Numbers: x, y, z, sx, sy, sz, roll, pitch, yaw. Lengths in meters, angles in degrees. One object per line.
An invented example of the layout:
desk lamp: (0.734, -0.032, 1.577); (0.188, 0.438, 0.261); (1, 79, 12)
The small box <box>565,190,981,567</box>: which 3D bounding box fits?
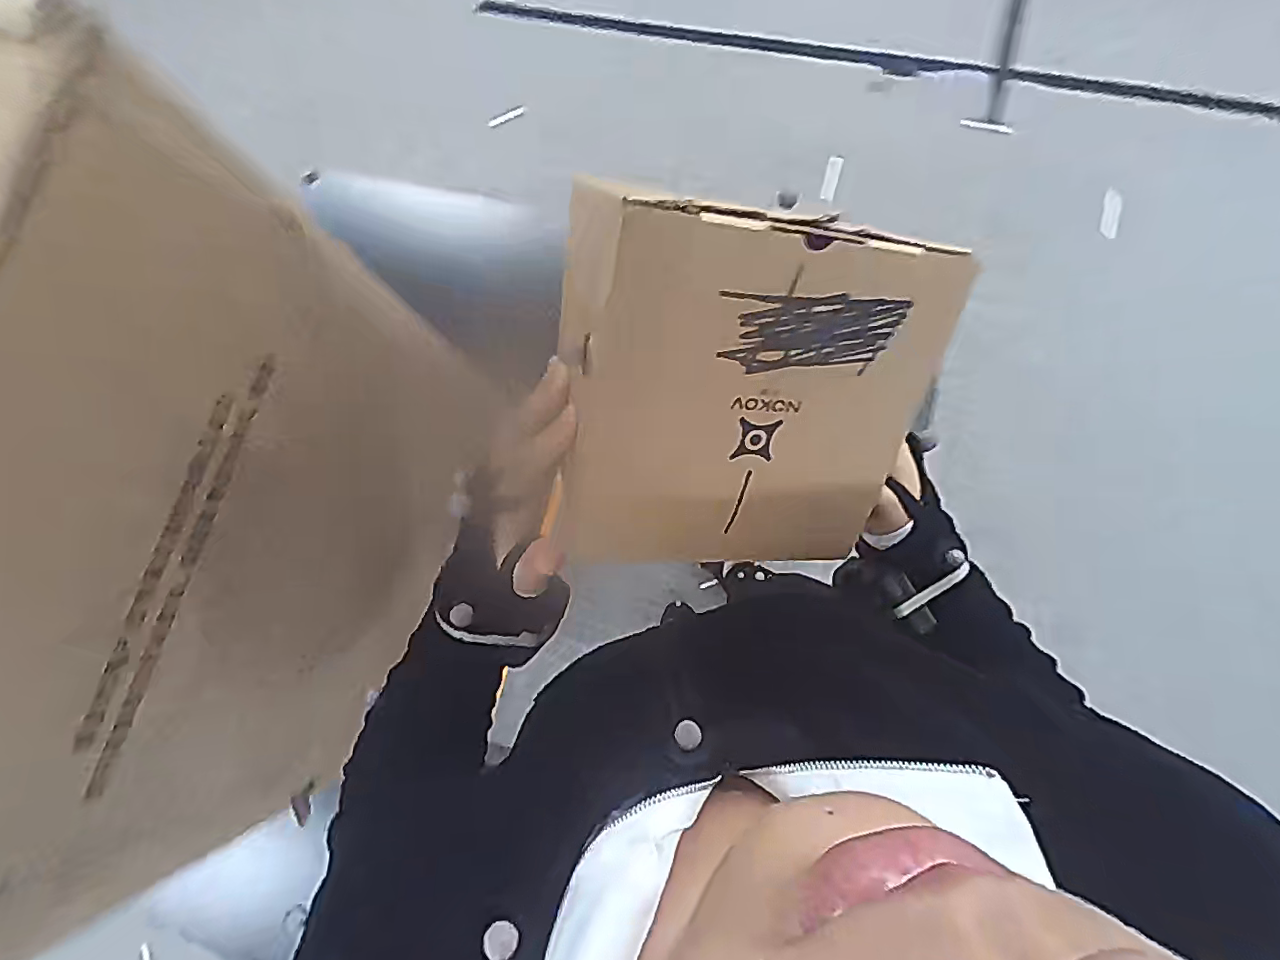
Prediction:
small box: (0.047, -0.067, 0.330); (0.168, 0.176, 0.179); (3, 119, -14)
